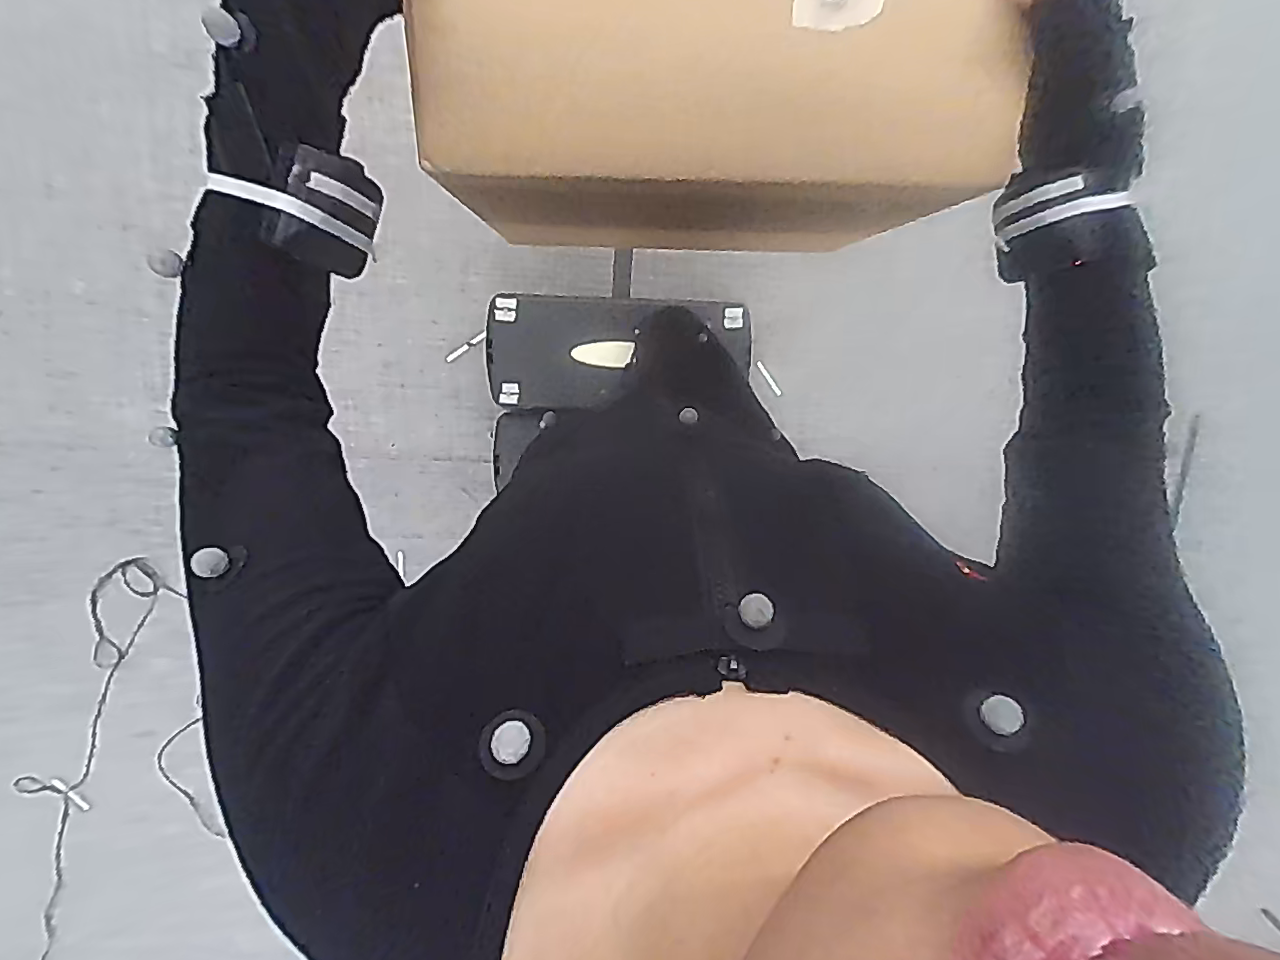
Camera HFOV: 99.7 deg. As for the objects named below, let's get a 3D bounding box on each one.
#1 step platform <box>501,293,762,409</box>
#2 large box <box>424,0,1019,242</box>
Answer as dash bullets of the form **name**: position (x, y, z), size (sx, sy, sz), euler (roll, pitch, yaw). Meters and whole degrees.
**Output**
- **step platform**: position (-0.022, -0.341, 1.449), size (0.684, 0.204, 0.286), euler (0, 101, -5)
- **large box**: position (0.048, -0.406, 0.485), size (0.408, 0.320, 0.320), euler (-1, 106, -4)
